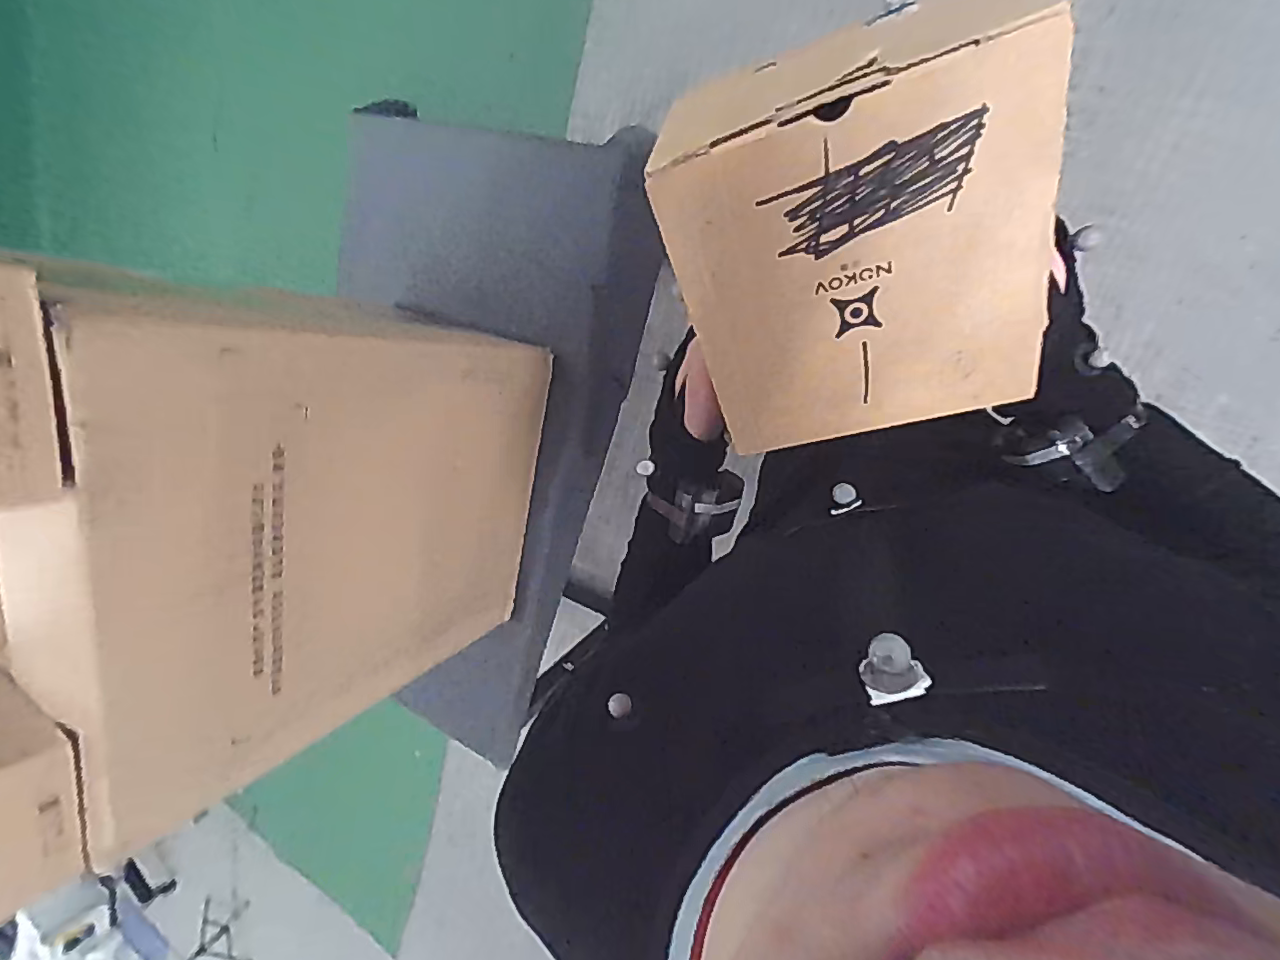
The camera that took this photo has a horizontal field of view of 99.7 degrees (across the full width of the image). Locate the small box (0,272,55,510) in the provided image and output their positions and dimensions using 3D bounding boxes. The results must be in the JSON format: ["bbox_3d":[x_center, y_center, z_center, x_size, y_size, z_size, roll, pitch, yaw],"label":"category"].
[{"bbox_3d":[-0.526,-0.063,0.348,0.179,0.176,0.168,11,102,23],"label":"small box"}]
